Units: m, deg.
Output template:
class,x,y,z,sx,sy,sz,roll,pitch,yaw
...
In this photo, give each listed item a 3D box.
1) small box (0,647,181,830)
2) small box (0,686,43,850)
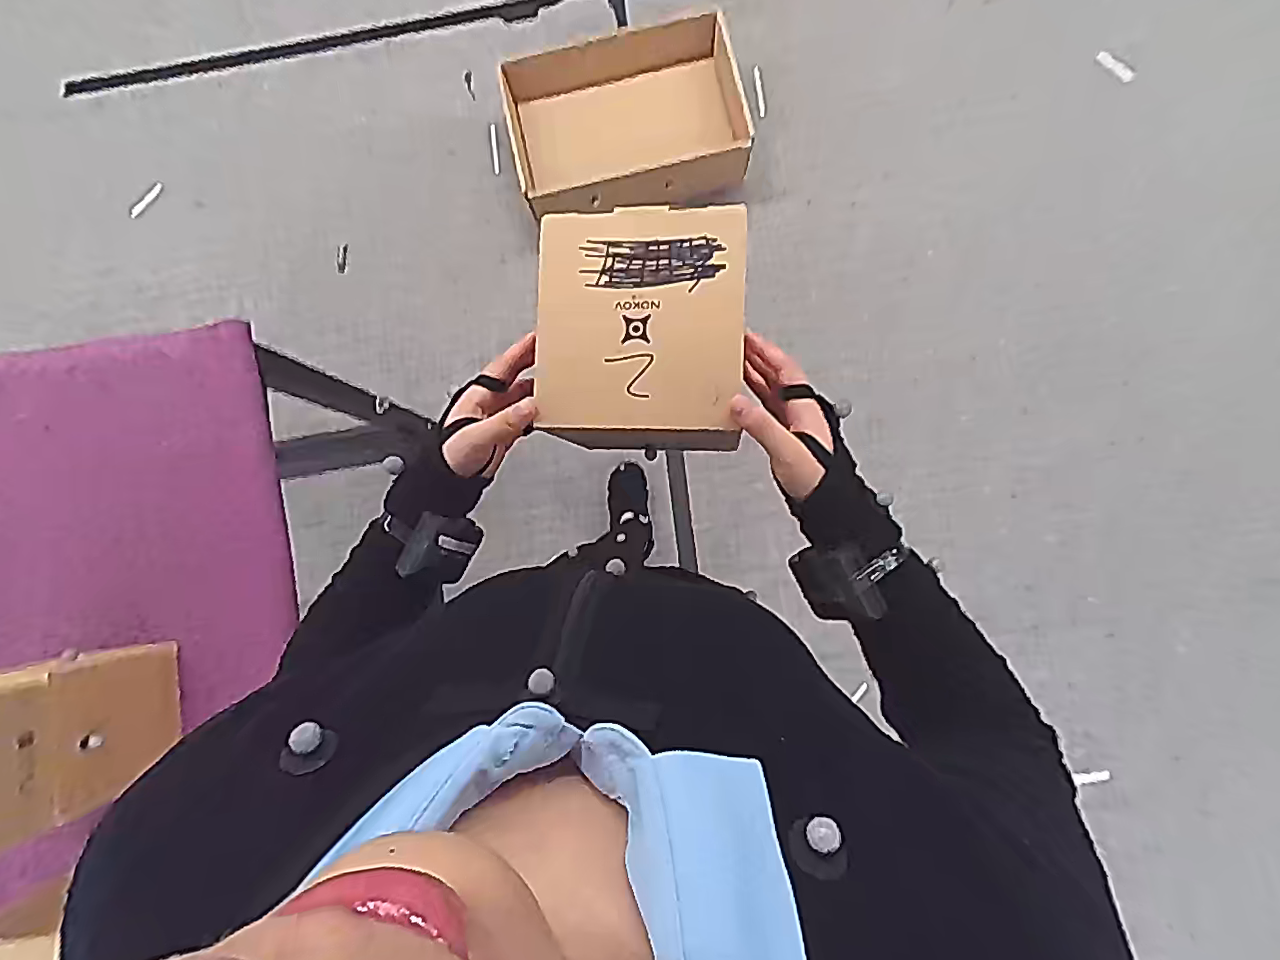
class,x,y,z,sx,sy,sz,roll,pitch,yaw
small box,-0.741,0.322,0.696,0.168,0.176,0.179,-8,85,2
small box,-0.756,0.314,0.532,0.179,0.176,0.168,-8,84,2
